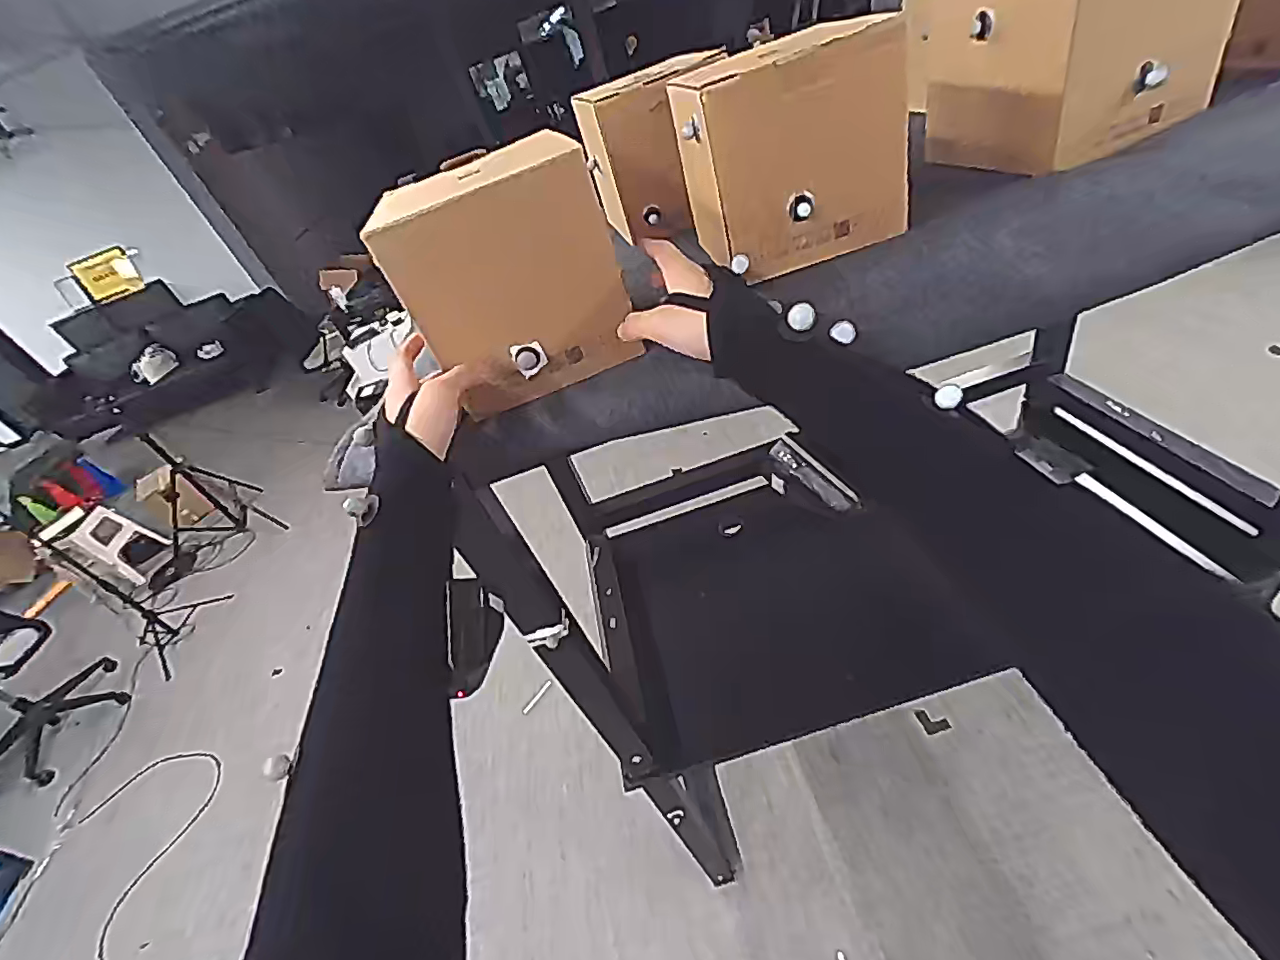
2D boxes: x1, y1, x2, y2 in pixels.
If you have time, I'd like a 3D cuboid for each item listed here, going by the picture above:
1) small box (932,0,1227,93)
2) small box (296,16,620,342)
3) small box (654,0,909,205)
[{"bbox_3d":[0.388,-0.469,0.482,0.168,0.176,0.179,-23,39,-2],"label":"small box"},{"bbox_3d":[-0.132,-0.238,0.442,0.168,0.176,0.179,-24,39,-2],"label":"small box"},{"bbox_3d":[0.118,-0.369,0.487,0.168,0.176,0.179,-17,39,4],"label":"small box"}]
